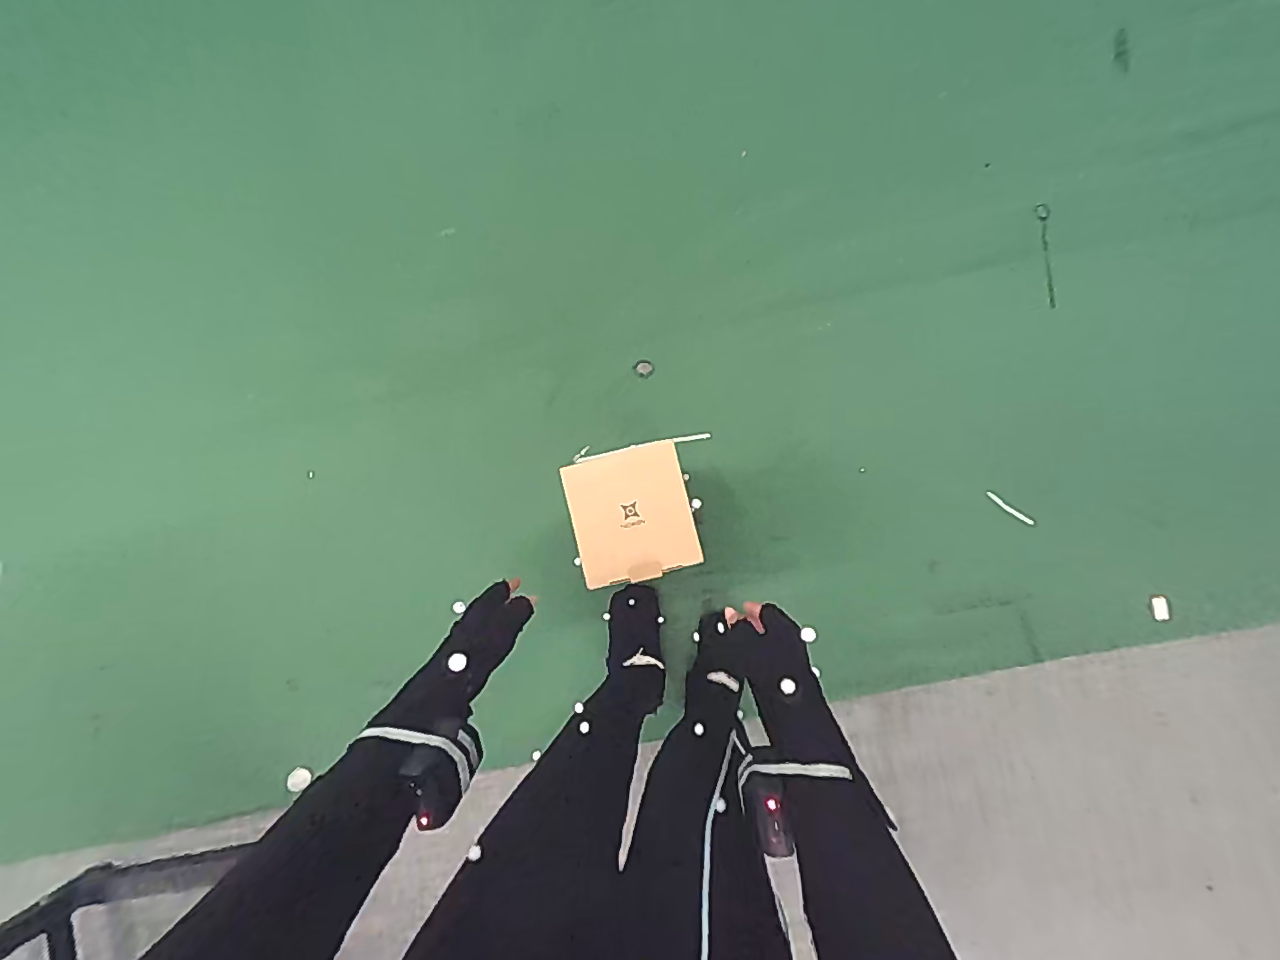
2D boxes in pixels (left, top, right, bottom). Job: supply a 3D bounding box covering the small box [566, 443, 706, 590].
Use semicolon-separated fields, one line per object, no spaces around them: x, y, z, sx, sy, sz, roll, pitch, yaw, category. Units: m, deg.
-0.004;0.055;0.826;0.168;0.176;0.179;-14;87;3;small box
